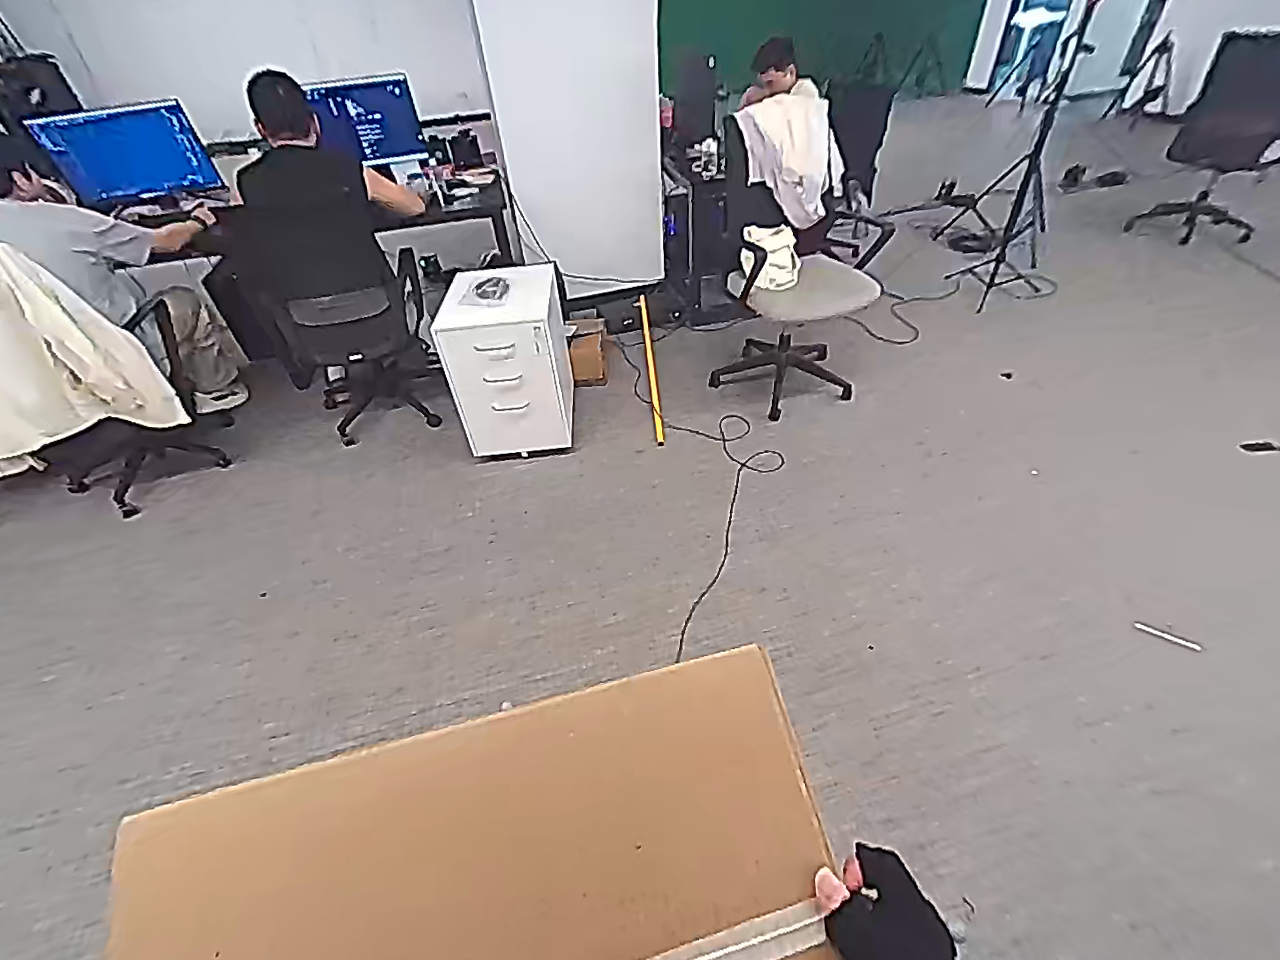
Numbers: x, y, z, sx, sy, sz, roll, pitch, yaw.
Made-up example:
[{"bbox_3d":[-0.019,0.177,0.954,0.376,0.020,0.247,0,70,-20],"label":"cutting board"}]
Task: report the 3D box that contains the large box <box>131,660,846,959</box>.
[{"bbox_3d":[-0.081,0.365,0.442,0.408,0.320,0.320,-13,68,-9],"label":"large box"}]
